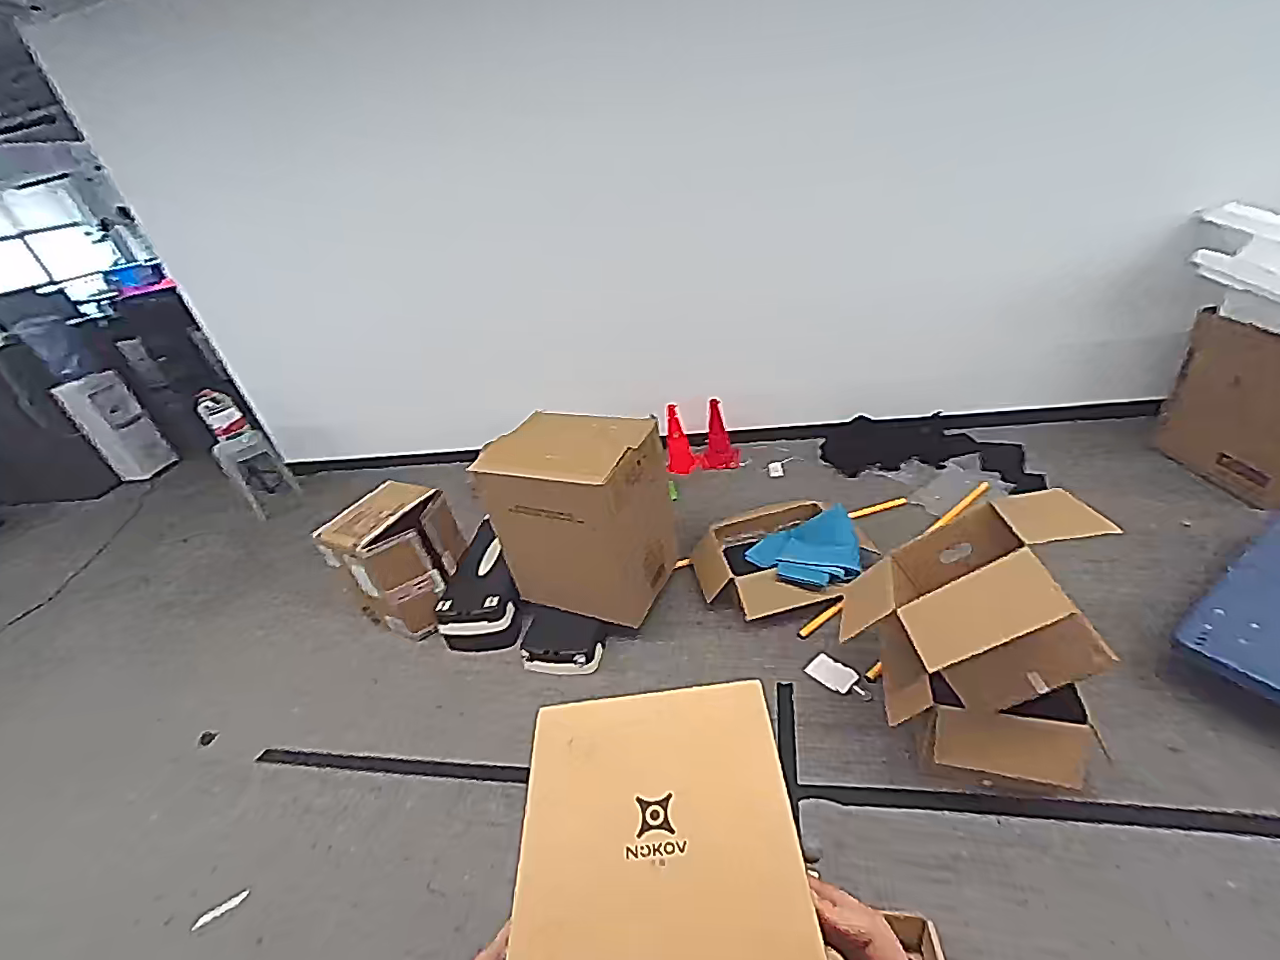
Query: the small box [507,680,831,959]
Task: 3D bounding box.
[{"bbox_3d":[0.021,0.269,0.369,0.168,0.176,0.179,-9,35,3],"label":"small box"}]
